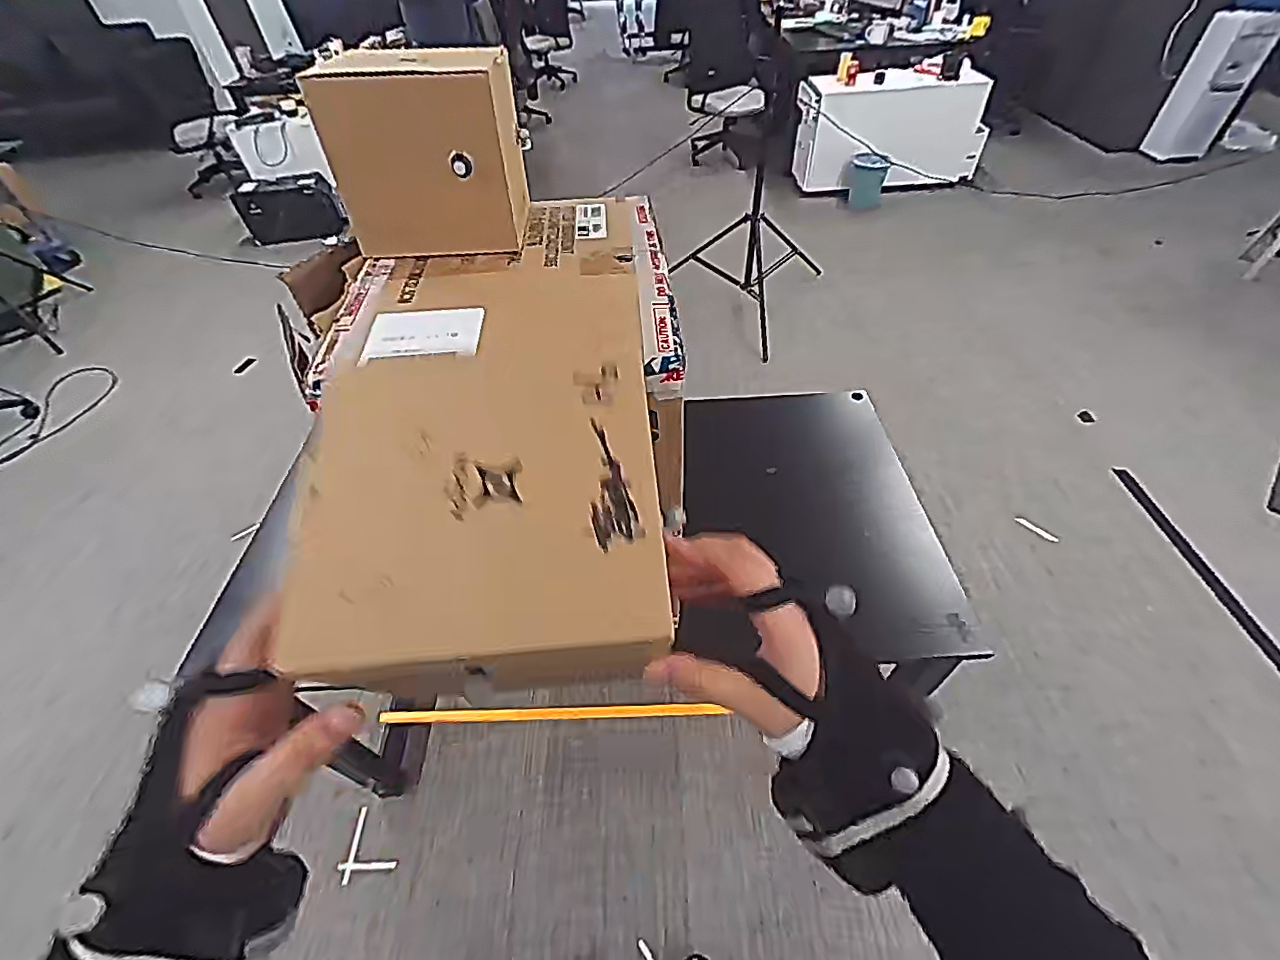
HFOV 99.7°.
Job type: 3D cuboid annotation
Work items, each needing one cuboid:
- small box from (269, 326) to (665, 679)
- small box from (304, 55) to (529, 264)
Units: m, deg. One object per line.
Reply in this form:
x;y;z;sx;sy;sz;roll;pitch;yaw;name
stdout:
-0.080;0.027;0.339;0.179;0.176;0.168;-4;66;-3;small box
-0.227;-0.360;0.611;0.179;0.176;0.168;-5;44;-2;small box
